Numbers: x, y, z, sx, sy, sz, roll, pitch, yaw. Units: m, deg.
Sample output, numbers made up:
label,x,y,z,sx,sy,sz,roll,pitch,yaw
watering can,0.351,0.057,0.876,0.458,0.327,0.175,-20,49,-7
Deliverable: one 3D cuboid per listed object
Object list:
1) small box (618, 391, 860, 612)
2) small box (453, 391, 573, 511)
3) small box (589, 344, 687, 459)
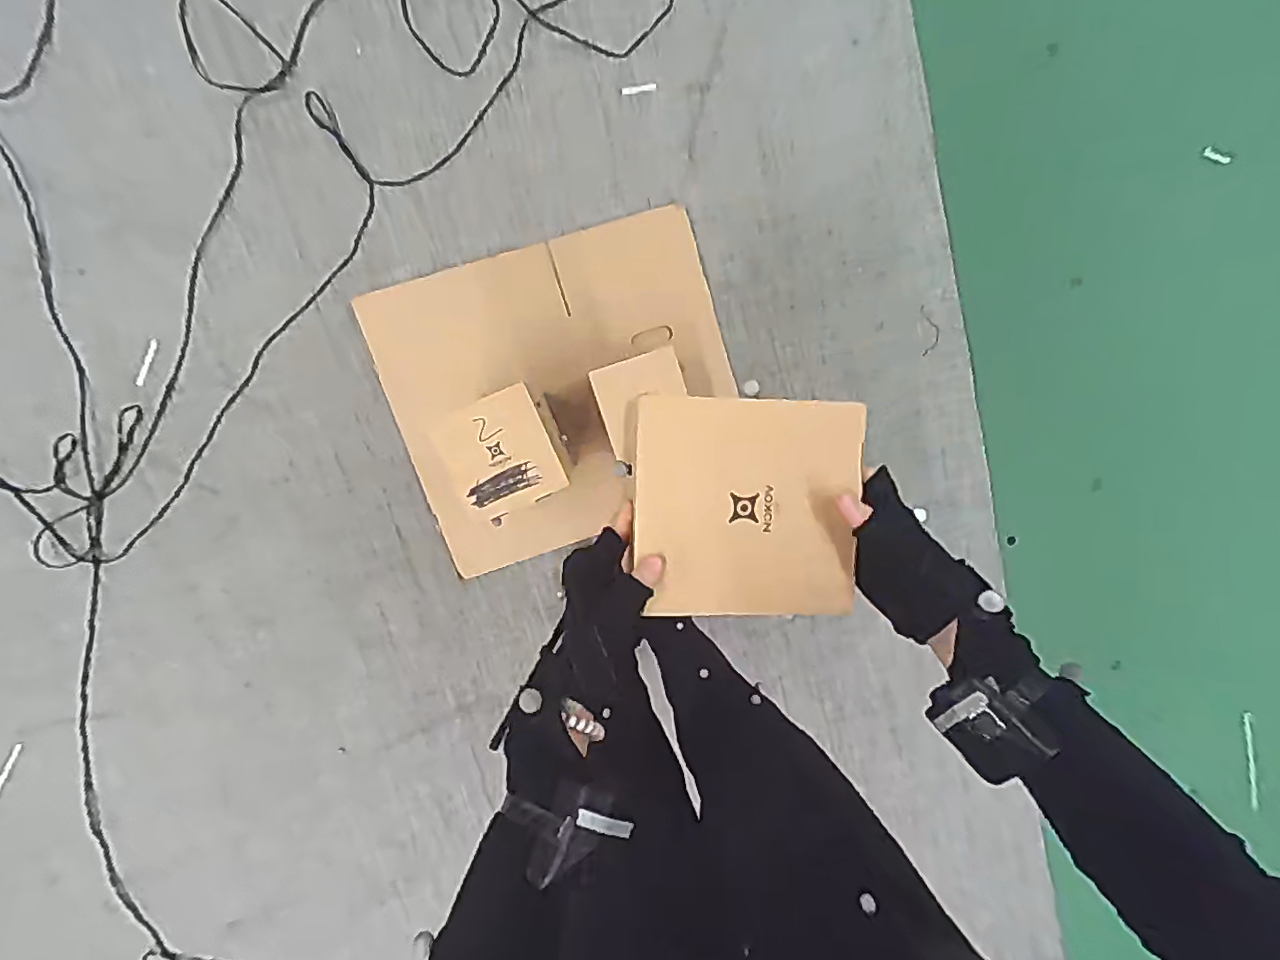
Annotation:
label,x,y,z,sx,sy,sz,roll,pitch,yaw
small box,0.071,0.012,0.490,0.179,0.176,0.168,2,96,-6
small box,-0.234,-0.063,1.050,0.168,0.176,0.179,-23,100,-3
small box,0.000,-0.153,1.070,0.168,0.176,0.179,-19,100,-3
